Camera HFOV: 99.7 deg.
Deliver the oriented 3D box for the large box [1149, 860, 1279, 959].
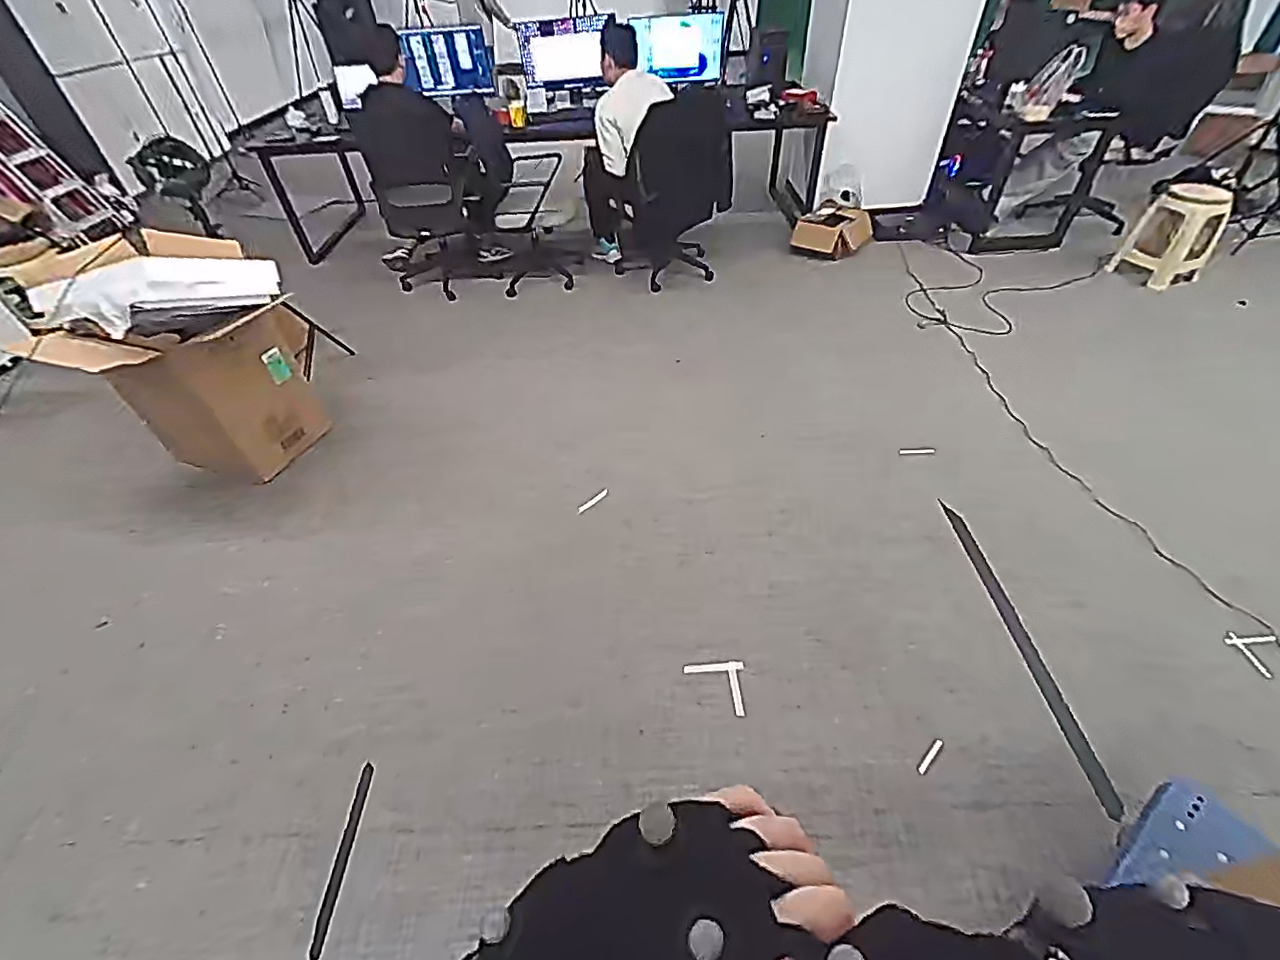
[{"bbox_3d":[1.031,0.842,0.748,0.408,0.320,0.320,31,55,29],"label":"large box"}]
